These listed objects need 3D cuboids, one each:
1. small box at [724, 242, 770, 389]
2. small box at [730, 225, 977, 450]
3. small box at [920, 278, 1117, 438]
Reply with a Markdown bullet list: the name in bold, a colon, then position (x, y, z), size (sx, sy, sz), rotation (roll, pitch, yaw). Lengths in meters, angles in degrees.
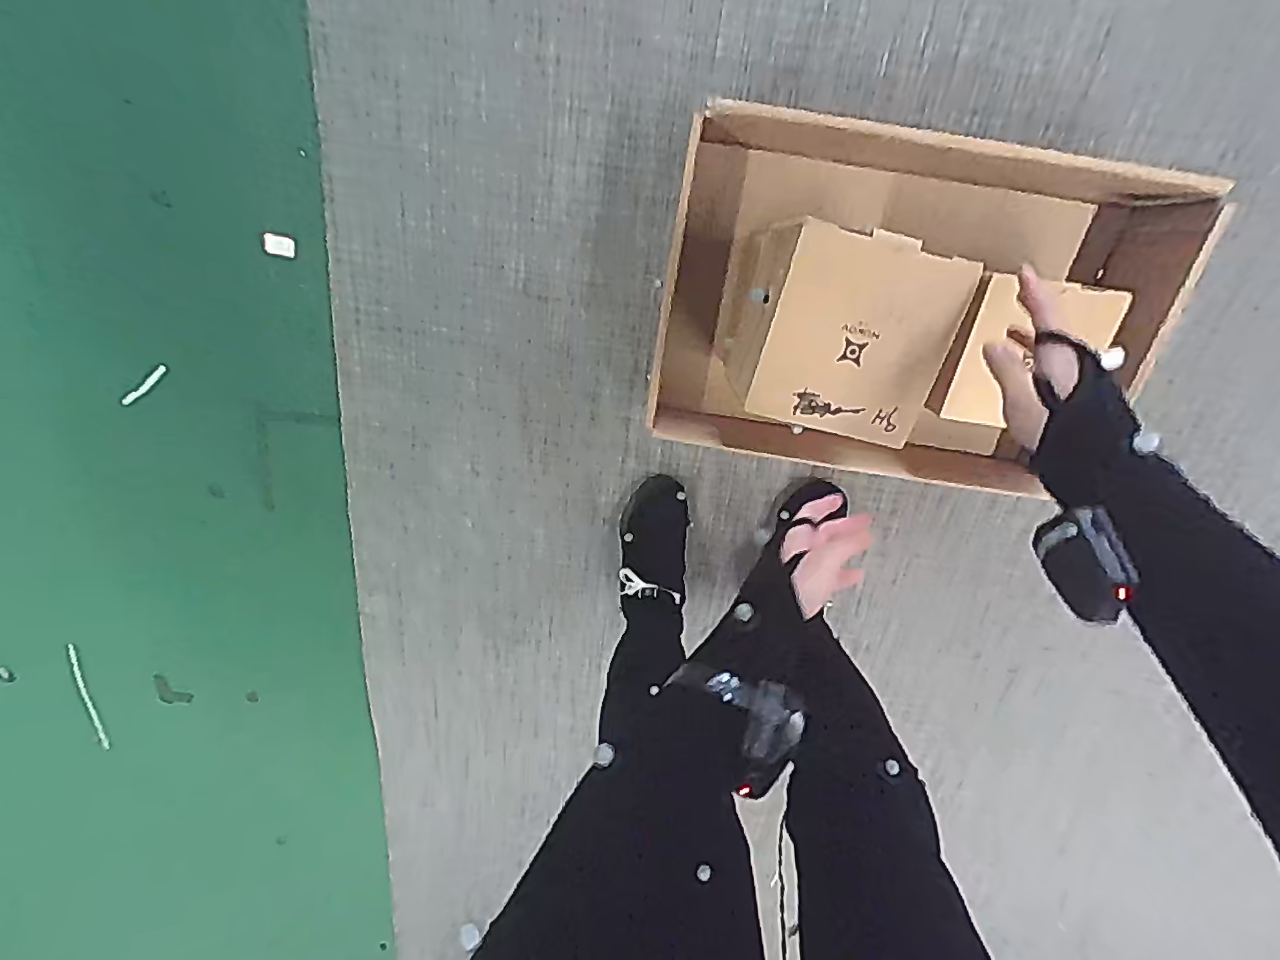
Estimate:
- **small box**: position (0.214, -0.217, 0.732), size (0.168, 0.176, 0.179), rotation (7, 113, -2)
- **small box**: position (0.204, -0.156, 0.580), size (0.168, 0.176, 0.179), rotation (13, 112, -4)
- **small box**: position (0.475, -0.177, 0.741), size (0.168, 0.176, 0.179), rotation (8, 113, -1)
